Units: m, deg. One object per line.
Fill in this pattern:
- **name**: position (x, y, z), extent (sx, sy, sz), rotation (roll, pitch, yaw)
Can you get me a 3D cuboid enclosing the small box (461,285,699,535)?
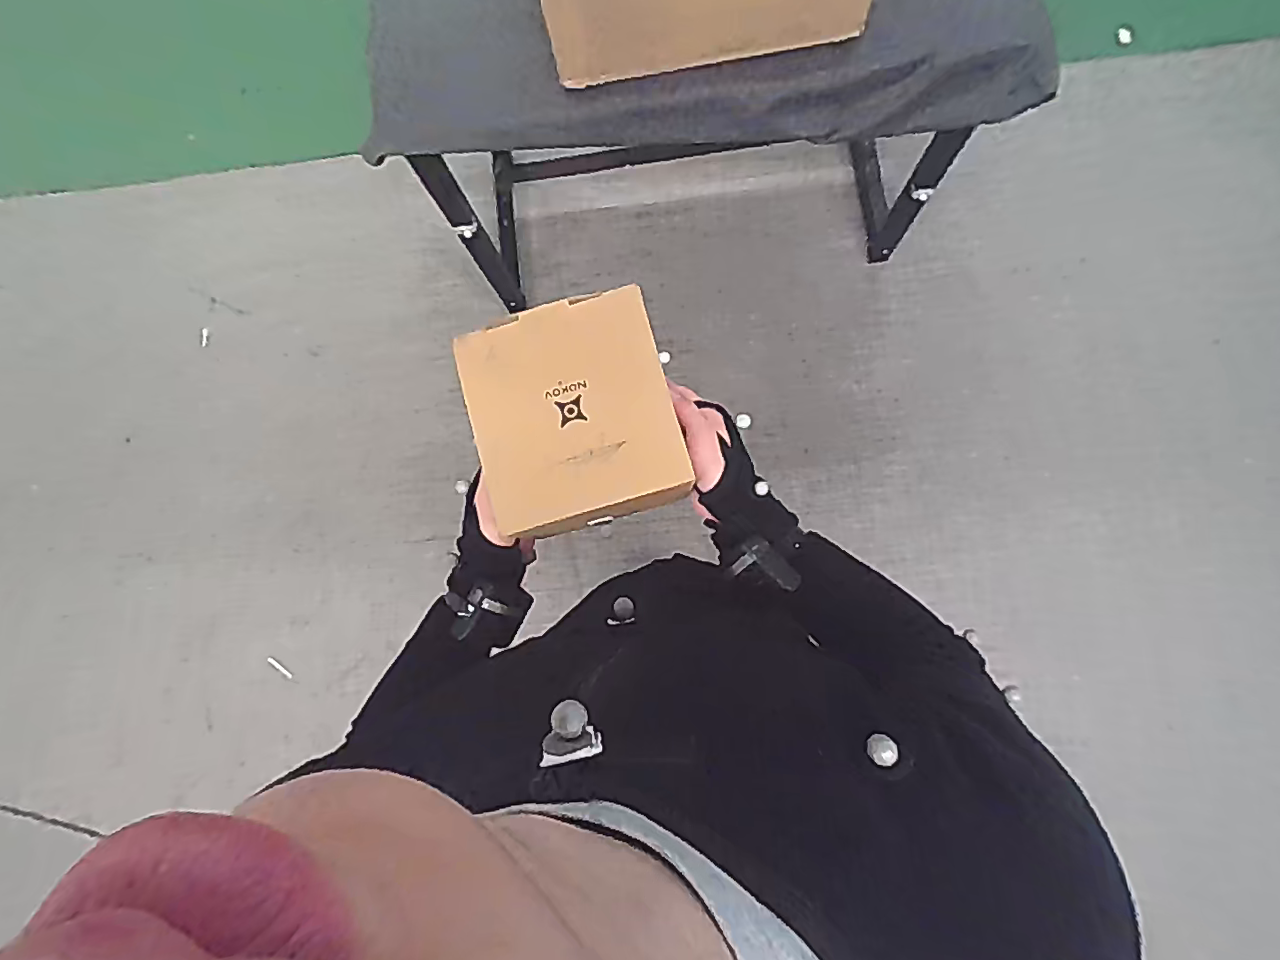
- **small box**: position (-0.048, -0.051, 0.521), extent (0.168, 0.176, 0.179), rotation (-16, 83, 2)
